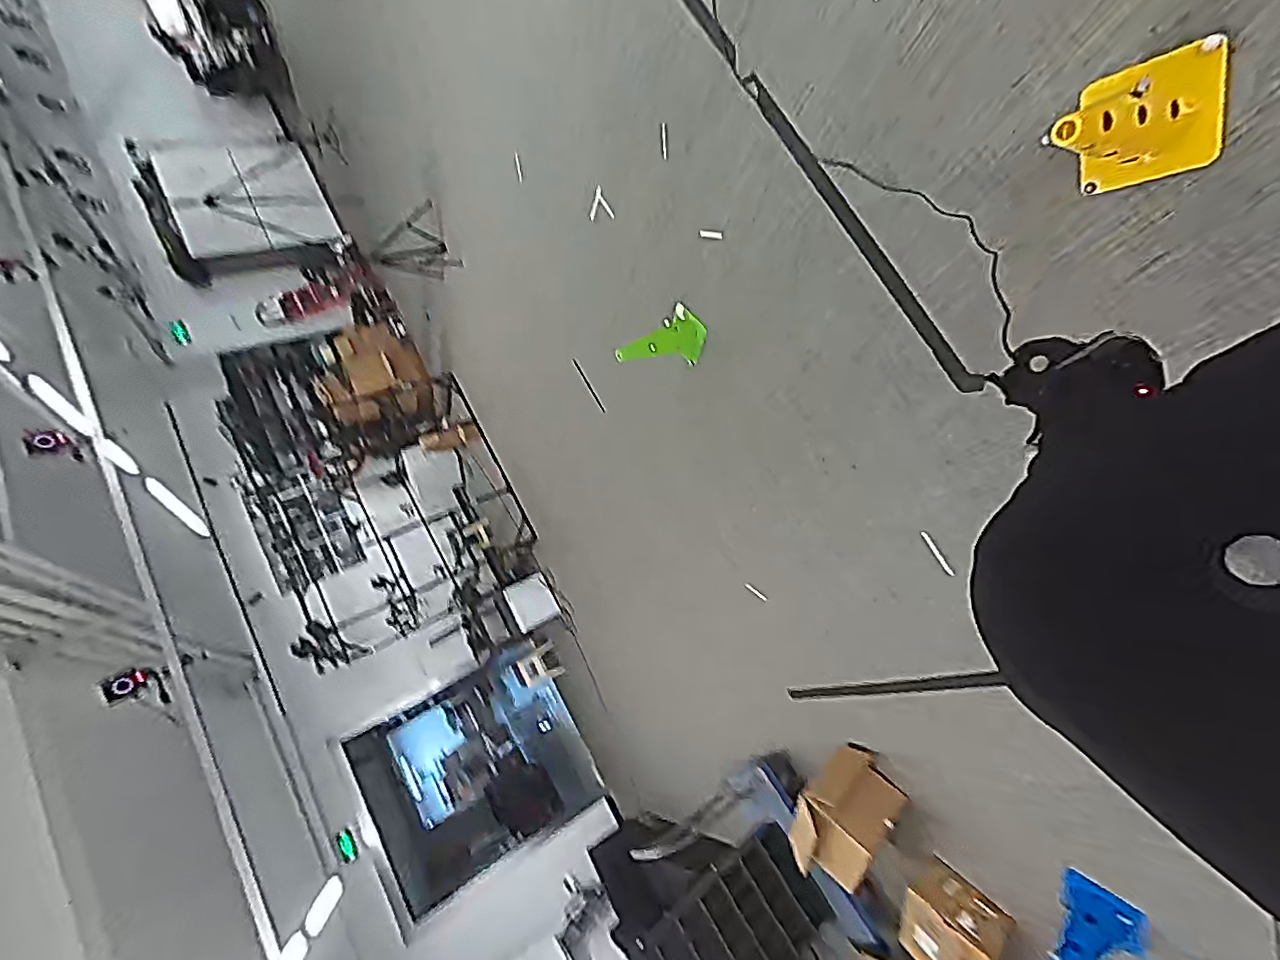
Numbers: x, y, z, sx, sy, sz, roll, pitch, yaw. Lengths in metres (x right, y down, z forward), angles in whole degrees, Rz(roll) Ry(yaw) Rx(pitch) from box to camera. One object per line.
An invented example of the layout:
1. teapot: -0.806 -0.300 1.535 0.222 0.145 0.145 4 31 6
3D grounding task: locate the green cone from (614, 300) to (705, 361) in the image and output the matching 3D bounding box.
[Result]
1. green cone: 0.058 -0.577 2.220 0.202 0.368 0.200 53 149 25
